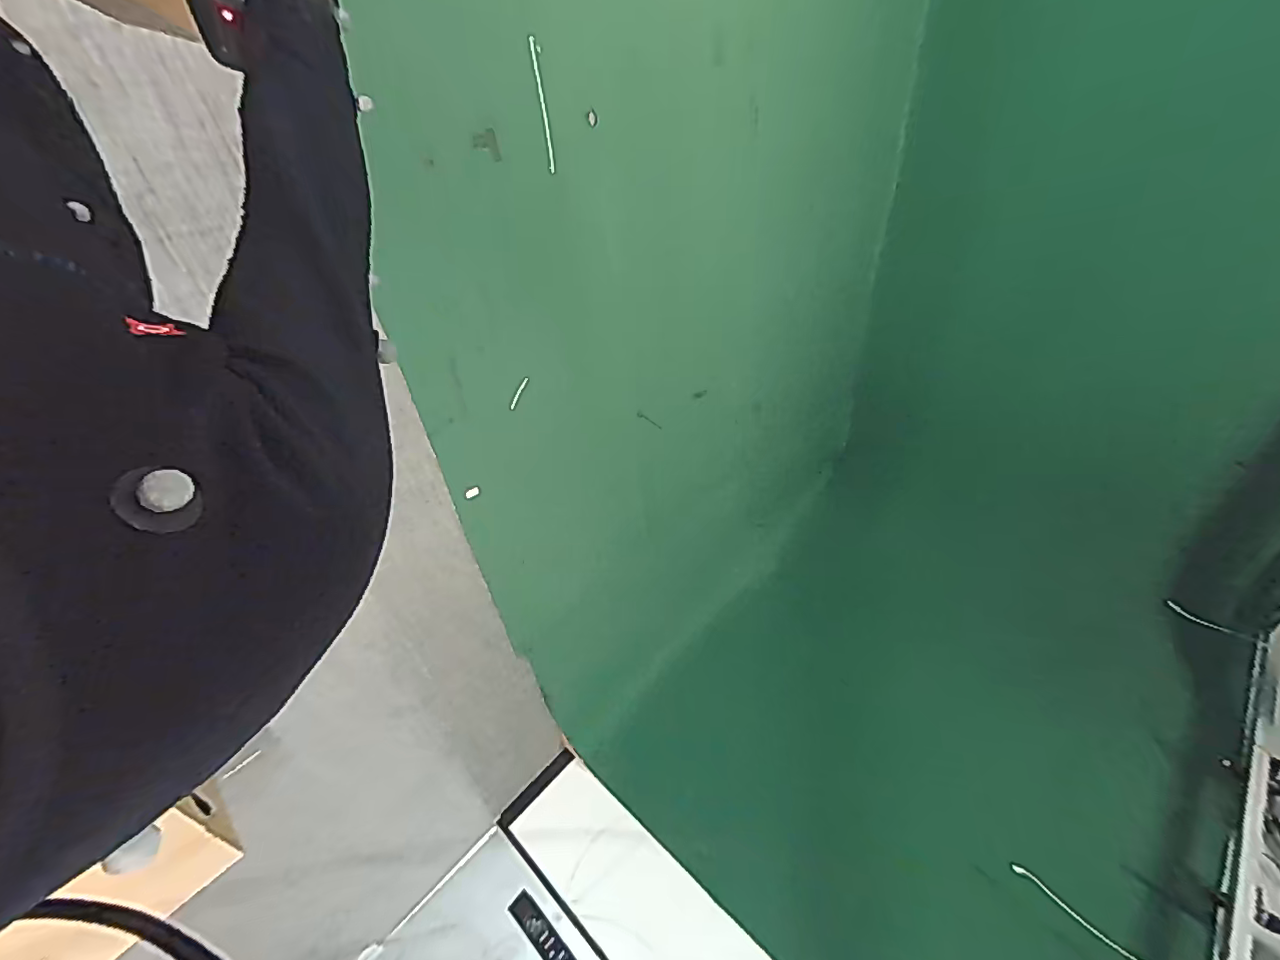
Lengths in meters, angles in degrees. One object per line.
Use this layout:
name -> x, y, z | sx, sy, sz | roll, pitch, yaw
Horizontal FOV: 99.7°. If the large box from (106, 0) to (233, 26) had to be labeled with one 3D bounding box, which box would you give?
large box -> -0.504, -0.571, 0.310 | 0.408, 0.320, 0.320 | -2, 121, -58
